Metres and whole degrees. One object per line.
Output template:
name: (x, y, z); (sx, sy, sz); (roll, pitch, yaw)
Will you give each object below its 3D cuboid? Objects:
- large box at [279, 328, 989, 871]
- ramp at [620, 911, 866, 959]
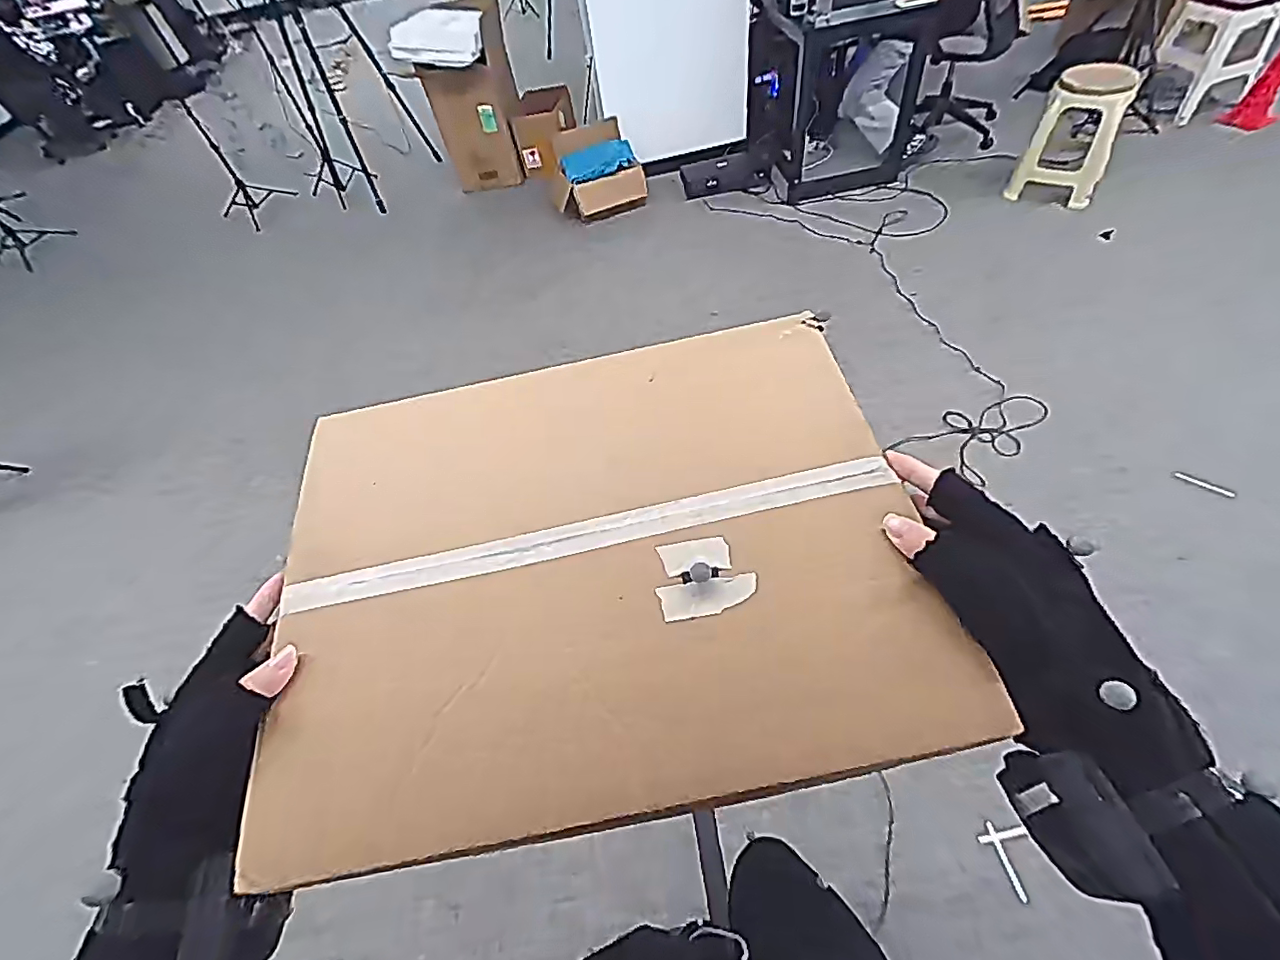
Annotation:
large box: (-0.014, 0.118, 0.494); (0.408, 0.320, 0.320); (-12, 59, 0)
ramp: (0.229, 1.250, 0.746); (0.509, 0.206, 0.991); (-11, 51, 3)
